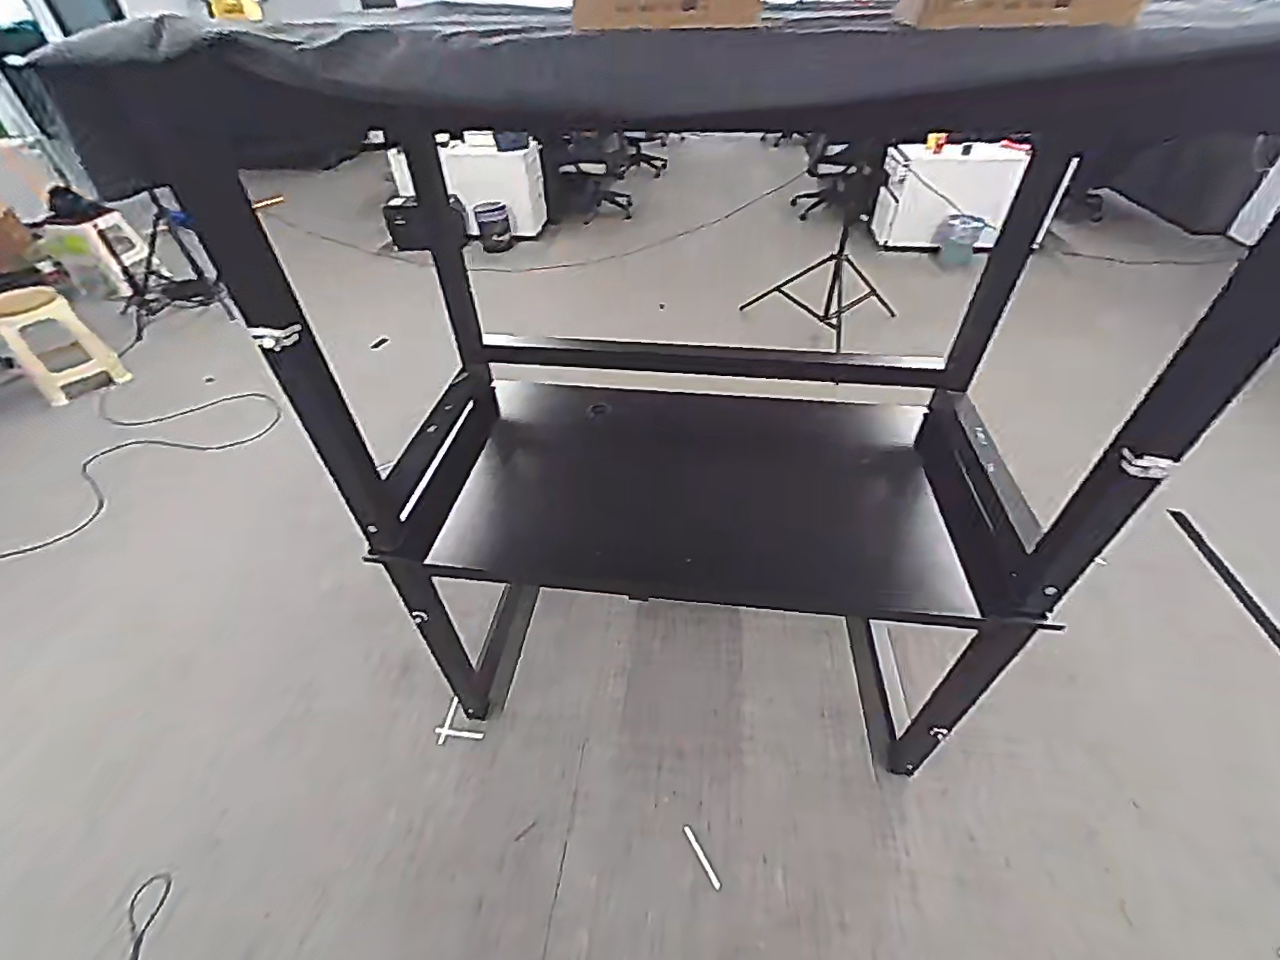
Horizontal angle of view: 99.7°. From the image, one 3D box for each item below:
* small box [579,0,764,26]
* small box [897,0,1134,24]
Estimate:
[{"bbox_3d":[0.034,-0.516,0.478,0.168,0.176,0.179,5,41,7],"label":"small box"},{"bbox_3d":[0.331,-0.495,0.450,0.168,0.176,0.179,7,42,9],"label":"small box"}]
